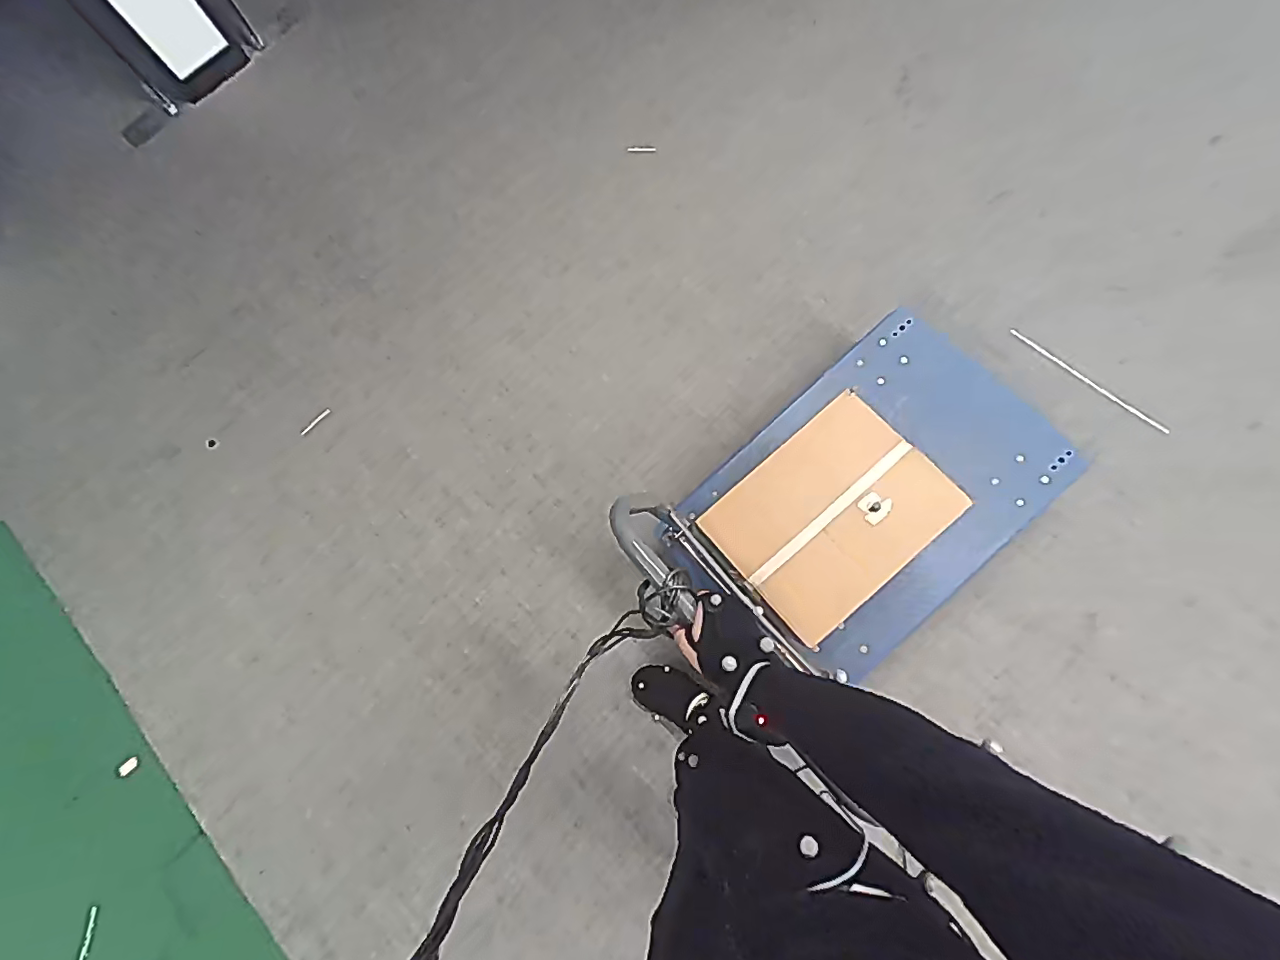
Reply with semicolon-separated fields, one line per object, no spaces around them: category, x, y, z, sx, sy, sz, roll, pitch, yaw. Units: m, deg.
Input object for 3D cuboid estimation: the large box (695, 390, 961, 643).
large box;0.367;0.094;1.165;0.408;0.320;0.320;-40;76;-3
